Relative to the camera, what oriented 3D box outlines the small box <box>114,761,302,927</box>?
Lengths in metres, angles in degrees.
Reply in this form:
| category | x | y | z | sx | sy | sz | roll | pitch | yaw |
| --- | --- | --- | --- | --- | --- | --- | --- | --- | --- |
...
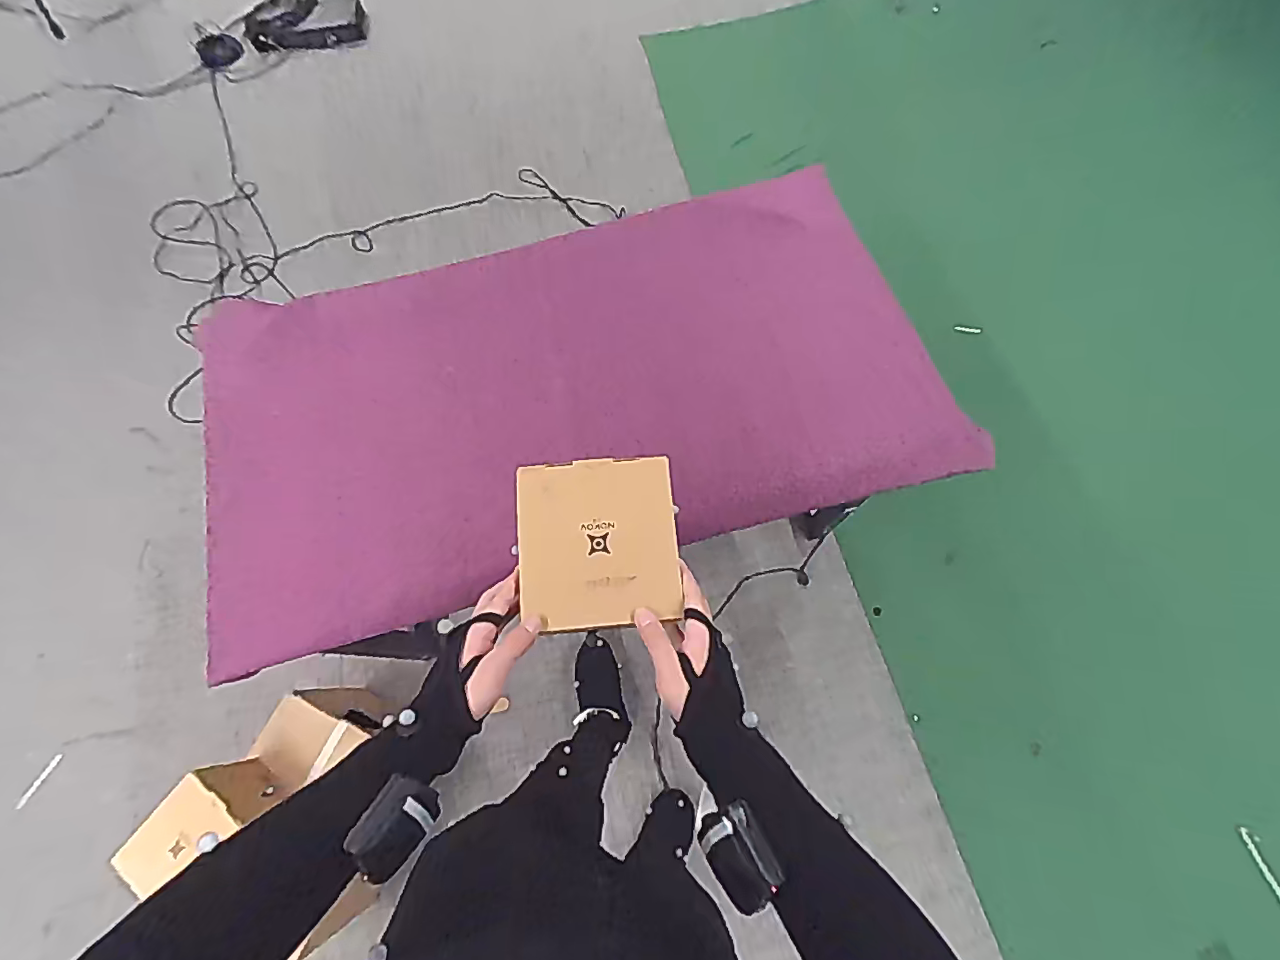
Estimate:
| category | x | y | z | sx | sy | sz | roll | pitch | yaw |
| --- | --- | --- | --- | --- | --- | --- | --- | --- | --- |
| small box | -0.785 | 0.656 | 1.002 | 0.168 | 0.176 | 0.179 | 33 | 74 | 15 |

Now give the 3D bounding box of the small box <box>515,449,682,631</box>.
| category | x | y | z | sx | sy | sz | roll | pitch | yaw |
| --- | --- | --- | --- | --- | --- | --- | --- | --- | --- |
| small box | -0.049 | 0.077 | 0.628 | 0.168 | 0.176 | 0.179 | -4 | 74 | -3 |

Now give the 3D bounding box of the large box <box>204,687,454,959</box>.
| category | x | y | z | sx | sy | sz | roll | pitch | yaw |
| --- | --- | --- | --- | --- | --- | --- | --- | --- | --- |
| large box | -0.698 | 0.732 | 1.230 | 0.320 | 0.320 | 0.408 | 22 | 71 | 9 |
